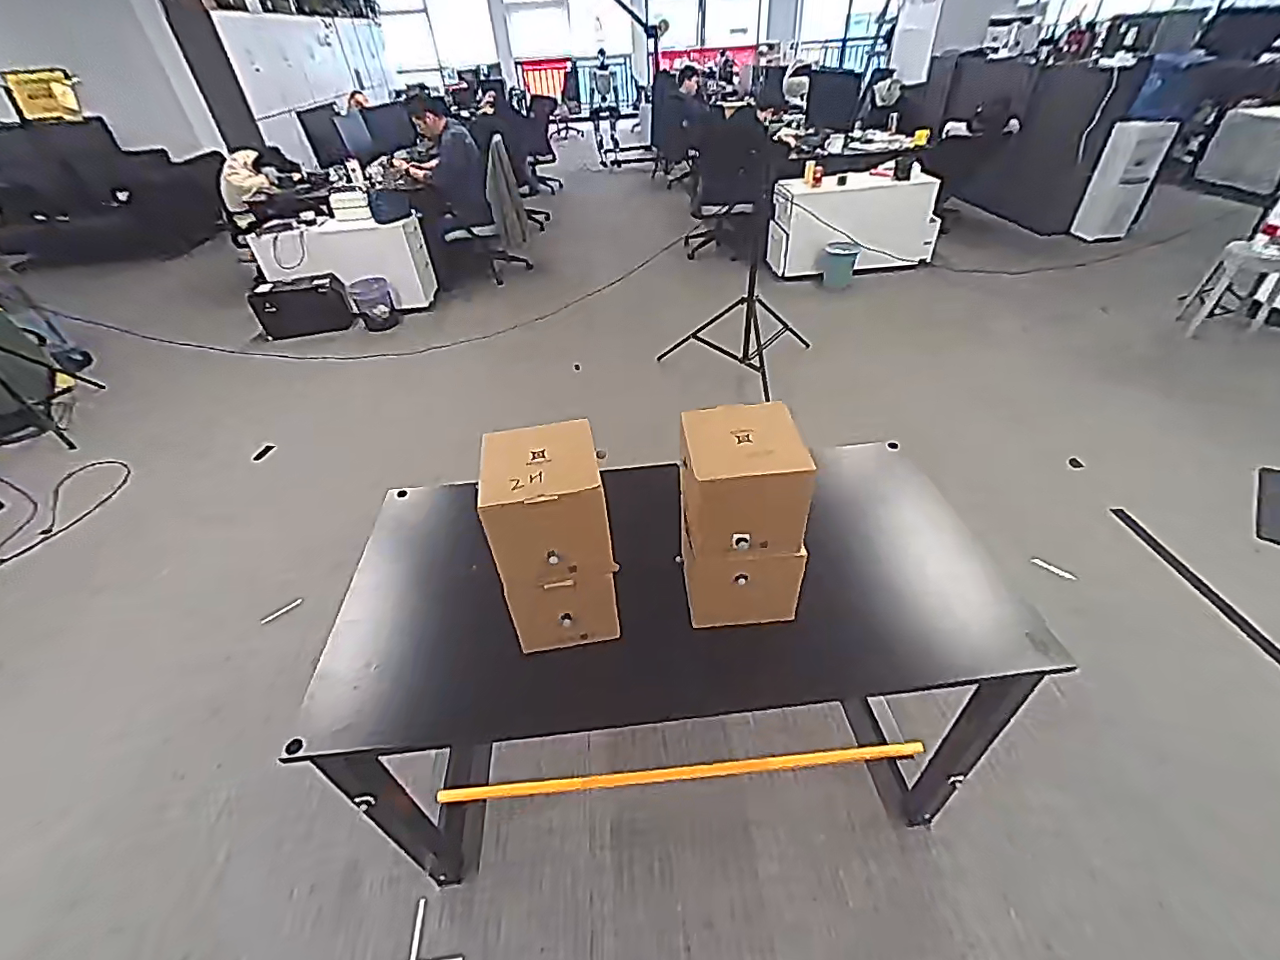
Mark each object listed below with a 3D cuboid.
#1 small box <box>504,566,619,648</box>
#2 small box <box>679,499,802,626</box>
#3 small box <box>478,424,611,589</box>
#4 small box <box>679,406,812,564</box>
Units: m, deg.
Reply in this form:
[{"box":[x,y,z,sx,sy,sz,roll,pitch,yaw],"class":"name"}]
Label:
[{"box":[-0.132,0.170,0.932,0.168,0.176,0.179,-9,40,-5],"class":"small box"},{"box":[0.165,0.137,0.941,0.179,0.176,0.168,-4,39,-1],"class":"small box"},{"box":[-0.142,0.039,0.830,0.168,0.176,0.179,-10,40,-6],"class":"small box"},{"box":[0.153,0.007,0.845,0.168,0.176,0.179,-7,40,0],"class":"small box"}]
